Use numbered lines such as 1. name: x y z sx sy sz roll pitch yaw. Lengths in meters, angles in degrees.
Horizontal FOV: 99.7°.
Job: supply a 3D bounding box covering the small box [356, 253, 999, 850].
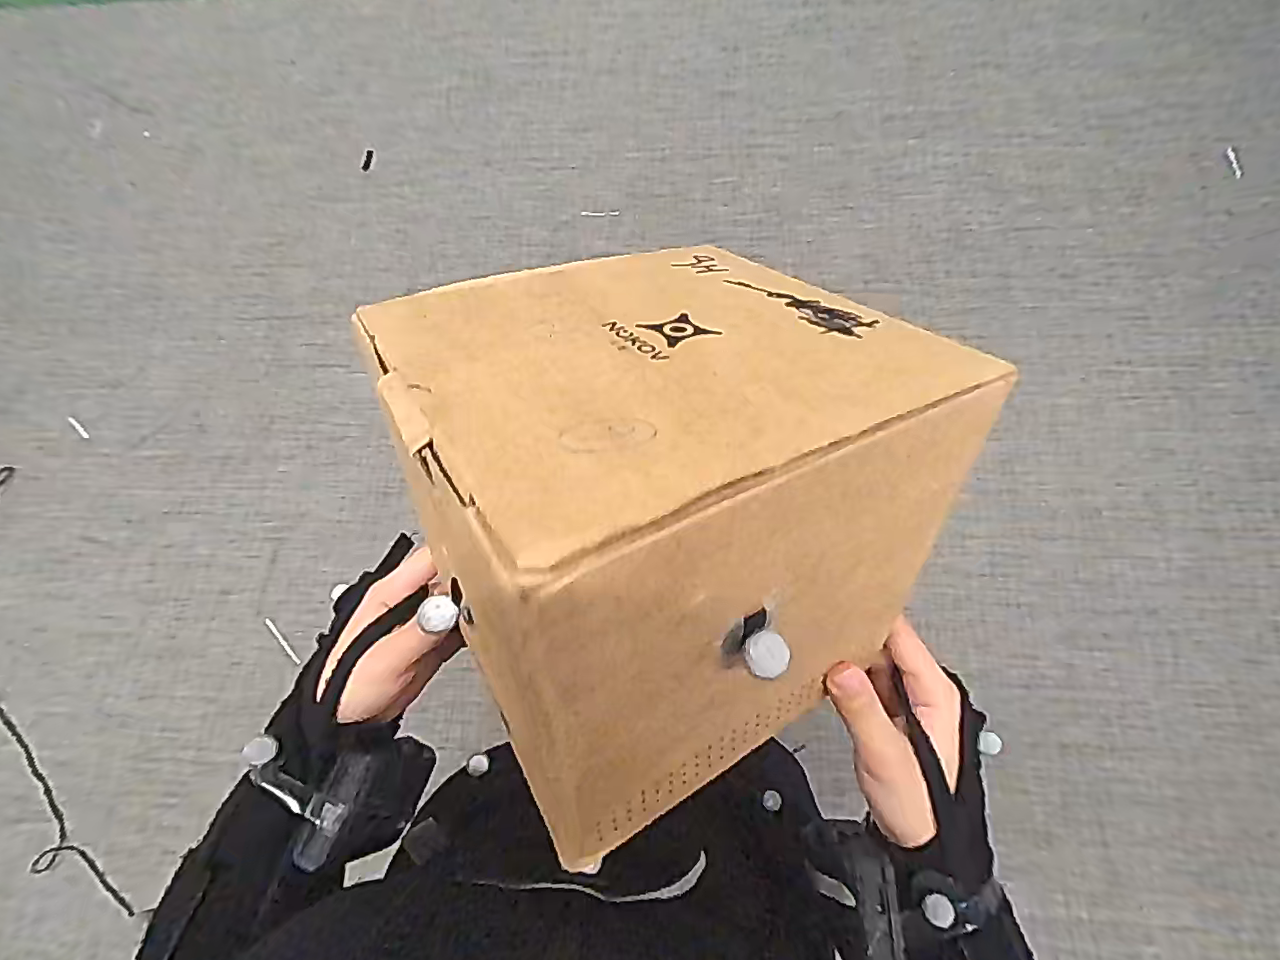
1. small box: 0.004 0.016 0.242 0.179 0.176 0.168 -21 43 -25
